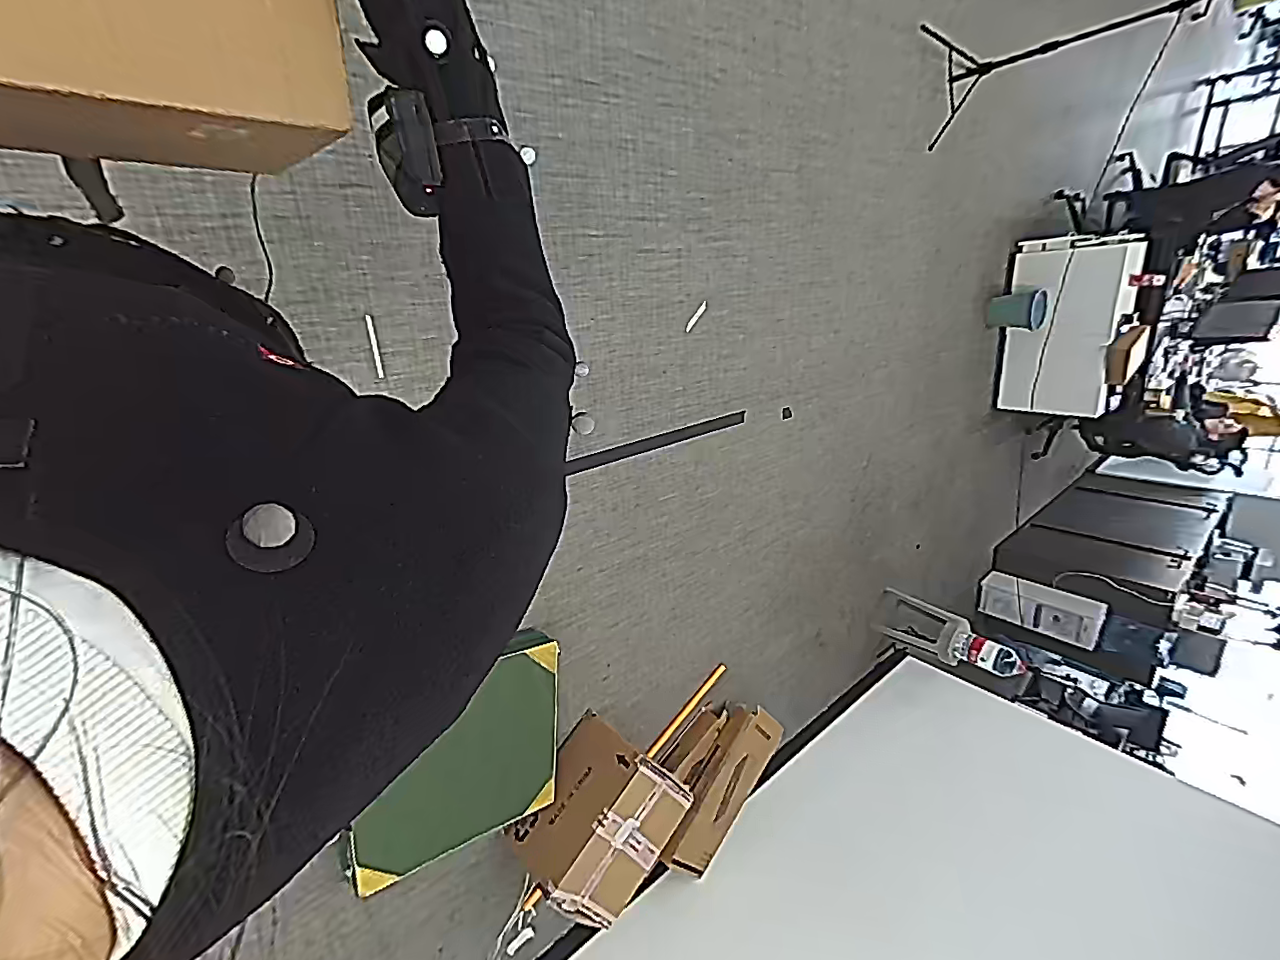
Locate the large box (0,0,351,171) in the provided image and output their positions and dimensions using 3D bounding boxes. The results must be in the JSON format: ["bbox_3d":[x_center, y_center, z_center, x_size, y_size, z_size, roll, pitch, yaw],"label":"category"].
[{"bbox_3d":[-0.444,-0.376,0.299,0.408,0.320,0.320,-17,120,-37],"label":"large box"}]
